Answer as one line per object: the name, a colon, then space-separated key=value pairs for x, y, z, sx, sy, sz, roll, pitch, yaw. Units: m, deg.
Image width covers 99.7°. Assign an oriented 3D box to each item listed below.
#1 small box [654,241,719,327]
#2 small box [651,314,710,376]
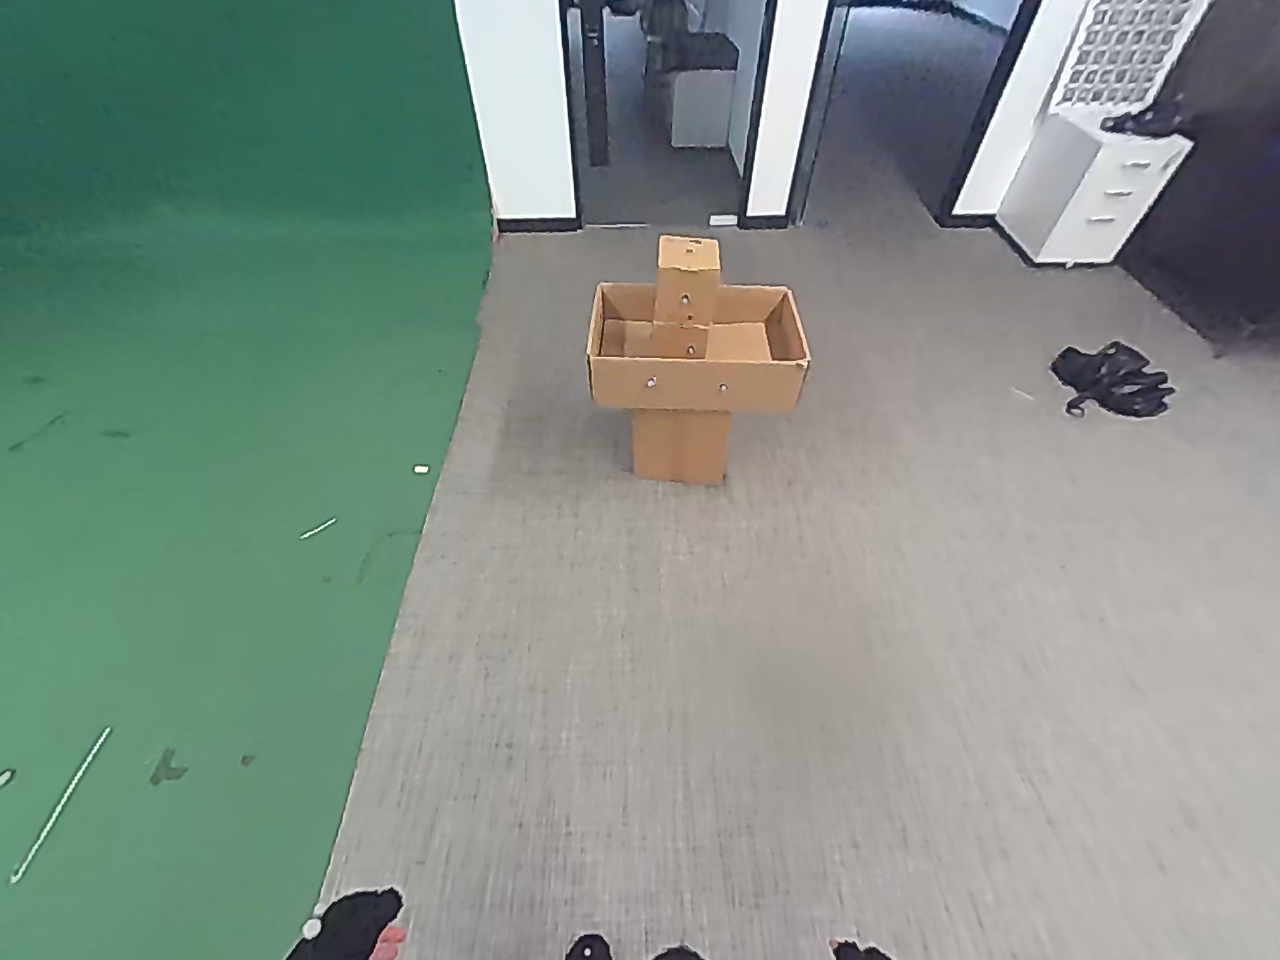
small box: x=0.131 y=-0.552 z=1.536 sx=0.168 sy=0.176 sz=0.179 roll=5 pitch=50 yaw=0
small box: x=0.122 y=-0.437 z=1.652 sx=0.168 sy=0.176 sz=0.179 roll=5 pitch=47 yaw=0
